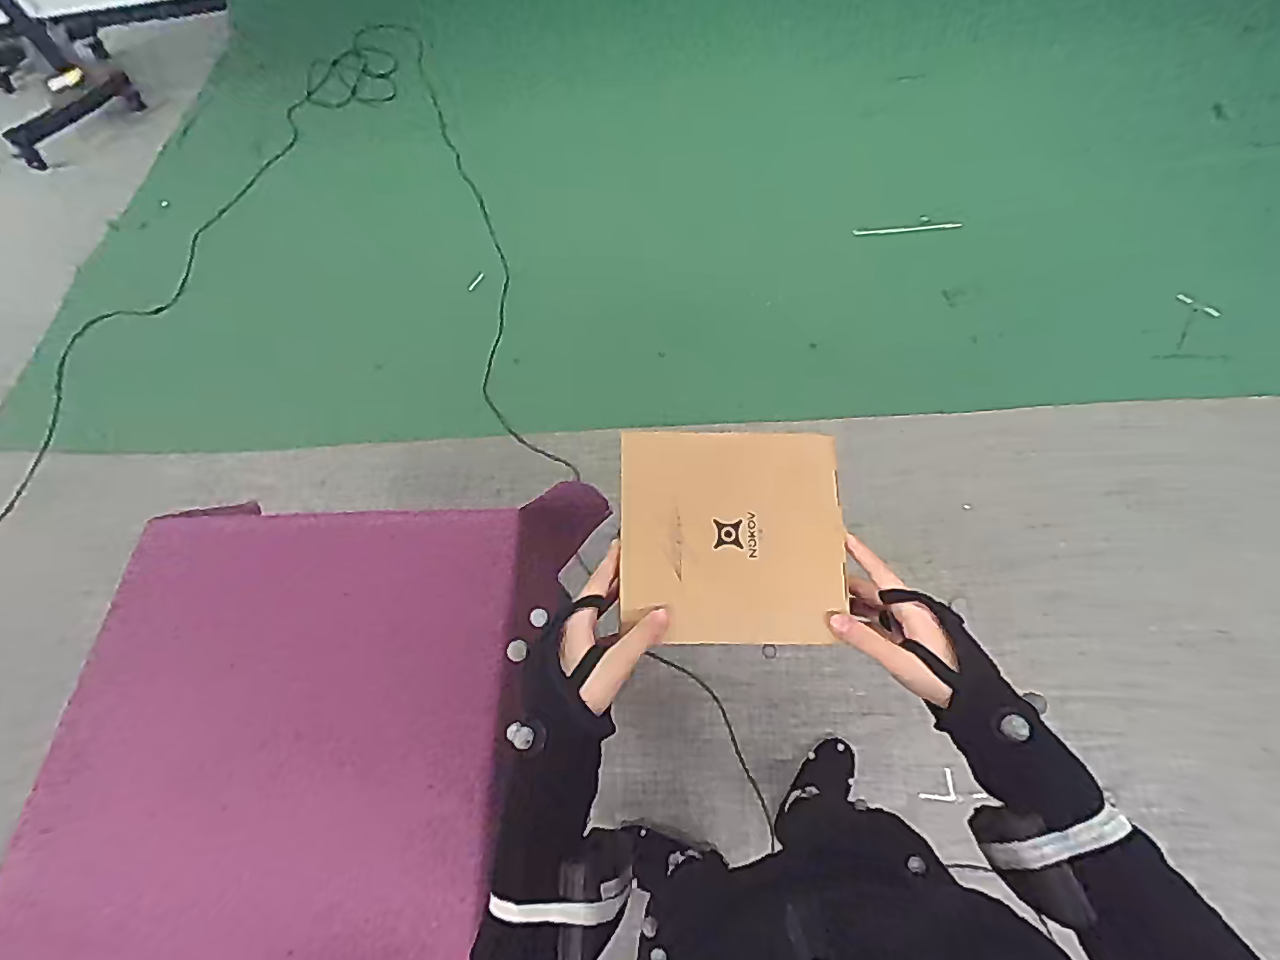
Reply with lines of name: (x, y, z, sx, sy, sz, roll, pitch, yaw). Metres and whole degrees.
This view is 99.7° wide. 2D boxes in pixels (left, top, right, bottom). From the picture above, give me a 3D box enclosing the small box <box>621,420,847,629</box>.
small box: (0.073, 0.051, 0.510, 0.179, 0.176, 0.168, 1, 76, -1)
